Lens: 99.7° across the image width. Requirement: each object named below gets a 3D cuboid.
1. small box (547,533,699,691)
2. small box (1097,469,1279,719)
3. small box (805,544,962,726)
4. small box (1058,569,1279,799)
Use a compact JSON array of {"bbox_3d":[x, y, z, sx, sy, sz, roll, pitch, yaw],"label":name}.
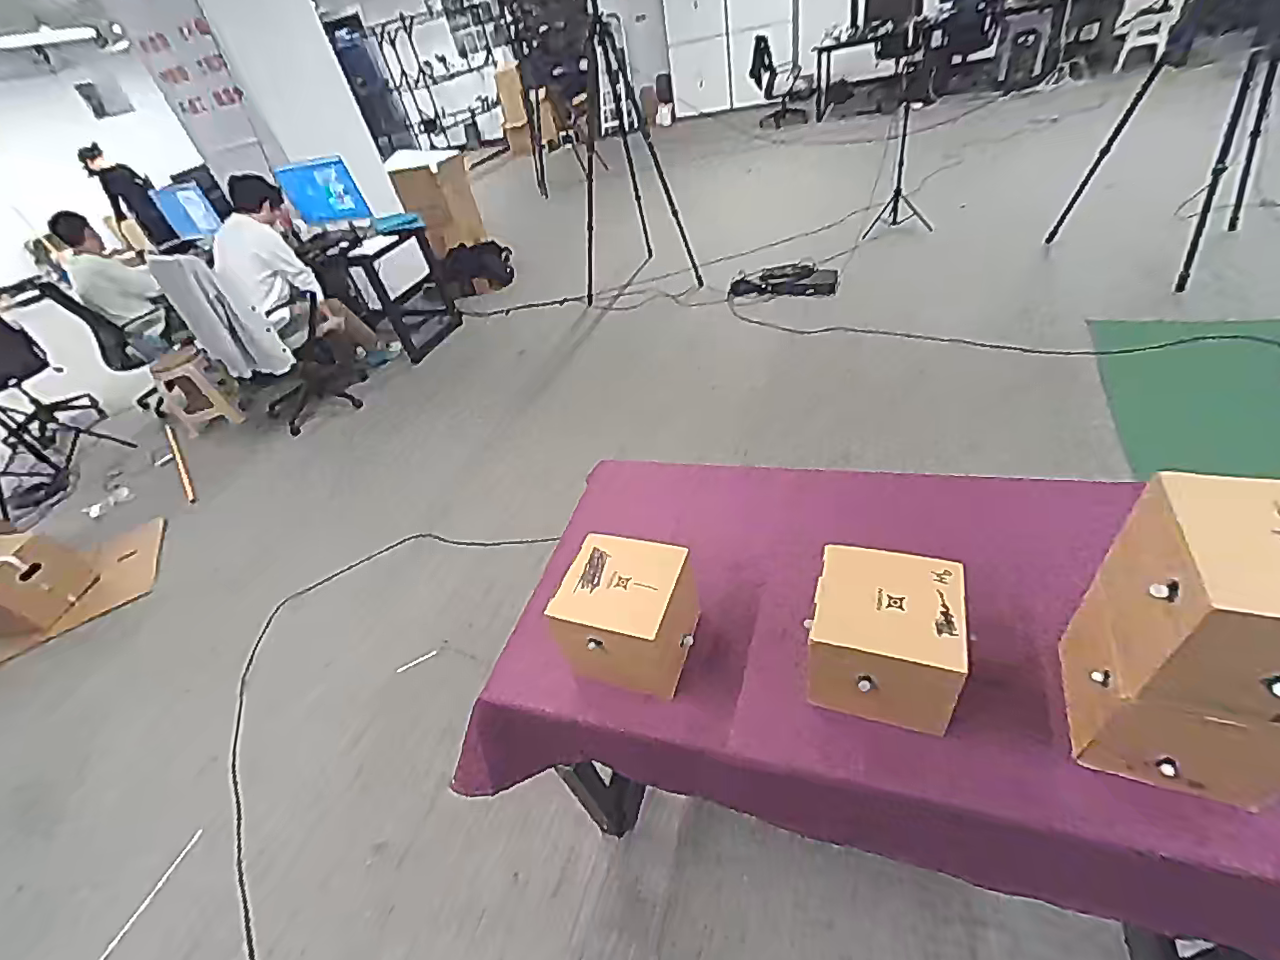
[{"bbox_3d":[-0.016,0.209,0.859,0.179,0.176,0.168,7,45,22],"label":"small box"},{"bbox_3d":[0.591,0.113,0.531,0.168,0.176,0.179,6,45,23],"label":"small box"},{"bbox_3d":[0.333,0.213,0.749,0.179,0.176,0.168,6,44,24],"label":"small box"},{"bbox_3d":[0.623,0.234,0.638,0.168,0.176,0.179,7,45,24],"label":"small box"}]
